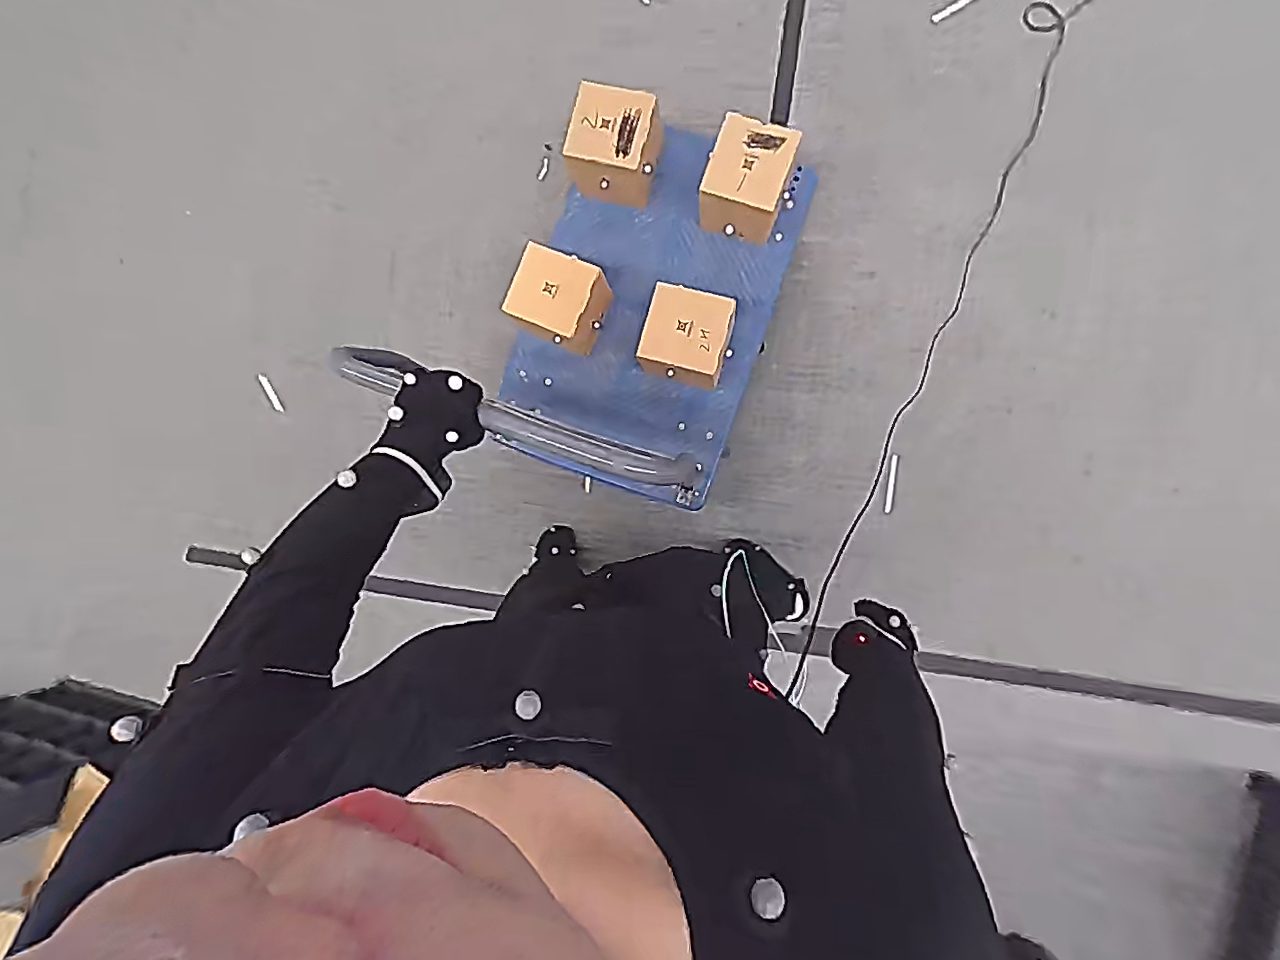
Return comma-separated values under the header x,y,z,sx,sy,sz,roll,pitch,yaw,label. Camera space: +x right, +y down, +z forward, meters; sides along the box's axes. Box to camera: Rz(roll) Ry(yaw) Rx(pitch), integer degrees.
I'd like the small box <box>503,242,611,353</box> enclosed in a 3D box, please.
x,y,z,sx,sy,sz,roll,pitch,yaw,label
-0.184,-0.414,1.257,0.179,0.176,0.168,23,91,5,small box

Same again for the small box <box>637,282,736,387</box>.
x,y,z,sx,sy,sz,roll,pitch,yaw,label
0.108,-0.318,1.215,0.179,0.176,0.168,16,91,8,small box

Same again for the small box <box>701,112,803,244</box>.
x,y,z,sx,sy,sz,roll,pitch,yaw,label
0.241,-0.663,1.204,0.168,0.176,0.179,21,93,8,small box
